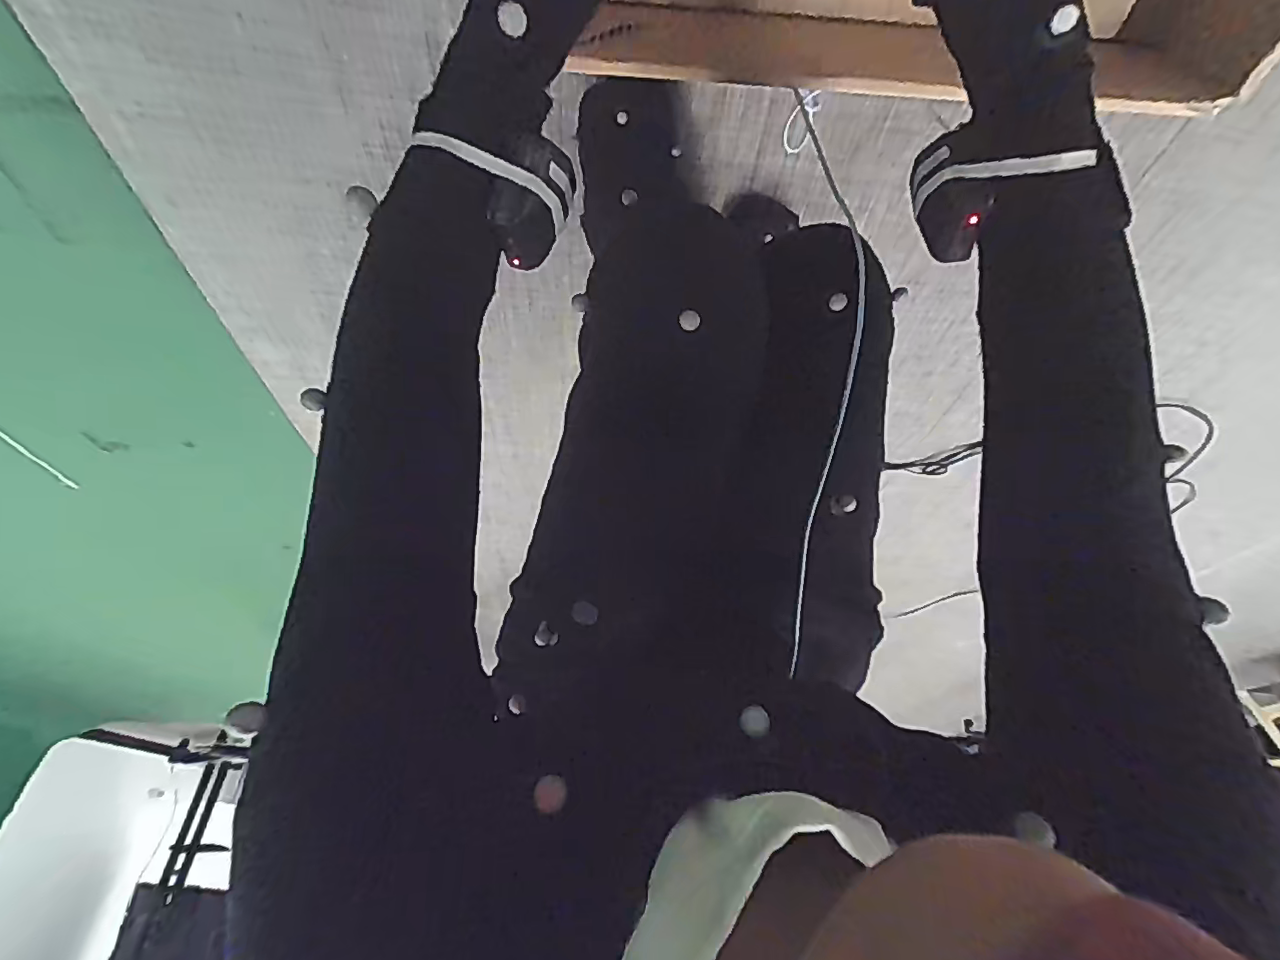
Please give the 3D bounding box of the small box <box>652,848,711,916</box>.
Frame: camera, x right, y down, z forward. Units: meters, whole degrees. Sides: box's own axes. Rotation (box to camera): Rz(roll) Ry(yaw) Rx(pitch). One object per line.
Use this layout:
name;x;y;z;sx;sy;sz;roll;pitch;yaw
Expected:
small box;0.138;1.347;1.814;0.168;0.176;0.179;7;144;-6
